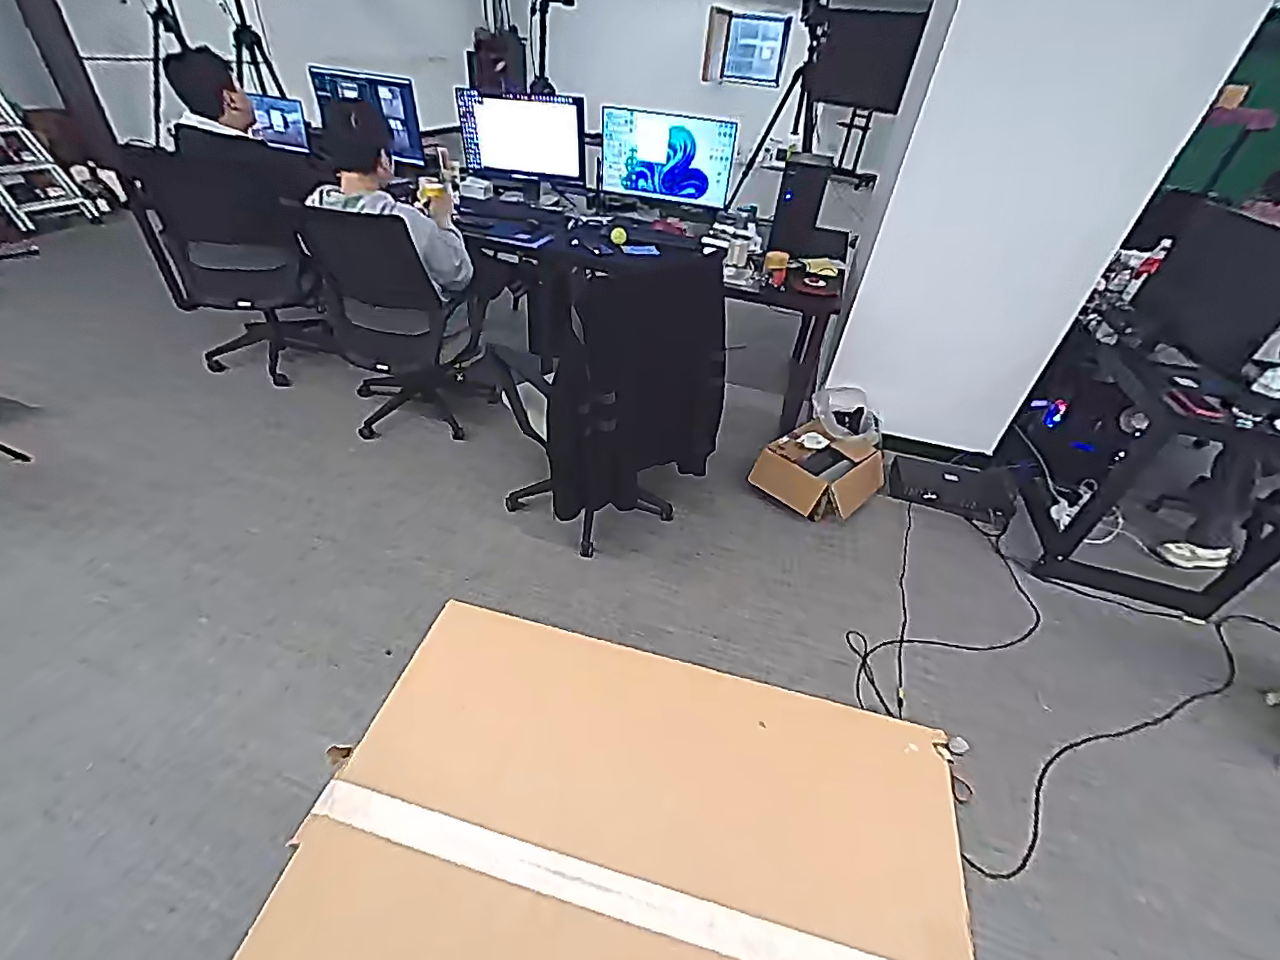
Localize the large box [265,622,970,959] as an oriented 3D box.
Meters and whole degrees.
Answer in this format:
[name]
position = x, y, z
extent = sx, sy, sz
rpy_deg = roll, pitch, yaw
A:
[large box]
position = -0.012, 0.366, 0.436
extent = 0.408, 0.320, 0.320
rpy_deg = 12, 46, 8
